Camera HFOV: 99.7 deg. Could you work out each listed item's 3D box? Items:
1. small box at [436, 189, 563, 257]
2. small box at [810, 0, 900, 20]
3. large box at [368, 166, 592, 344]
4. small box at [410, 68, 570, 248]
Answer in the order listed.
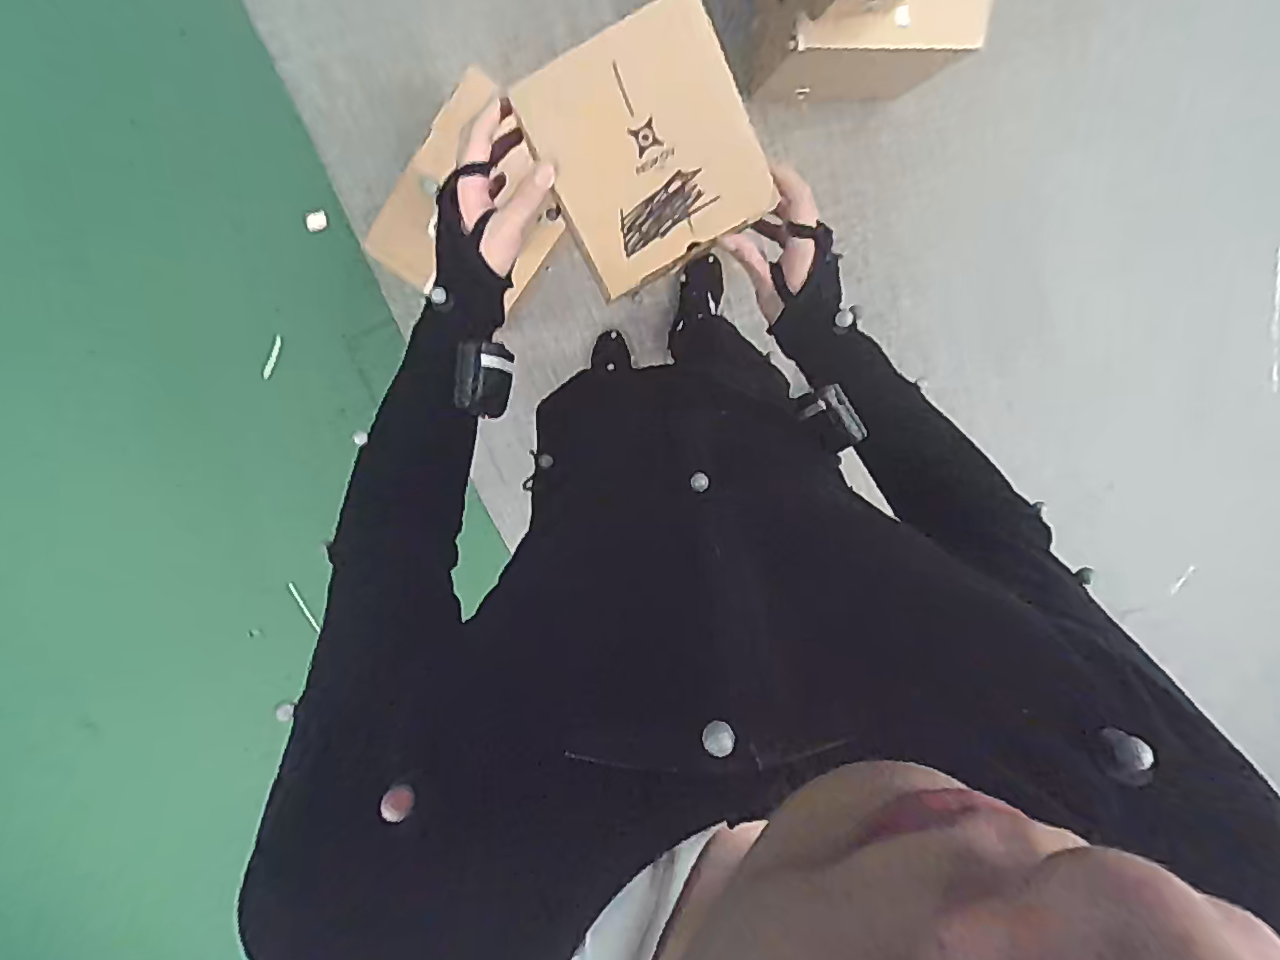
[{"bbox_3d":[-0.253,-0.549,1.022,0.168,0.176,0.179,34,102,-15],"label":"small box"},{"bbox_3d":[0.410,-0.960,0.961,0.168,0.176,0.179,-11,110,-3],"label":"small box"},{"bbox_3d":[-0.346,-0.585,1.261,0.320,0.320,0.408,35,102,-14],"label":"large box"},{"bbox_3d":[-0.229,-0.495,0.870,0.179,0.176,0.168,36,102,-17],"label":"small box"}]
